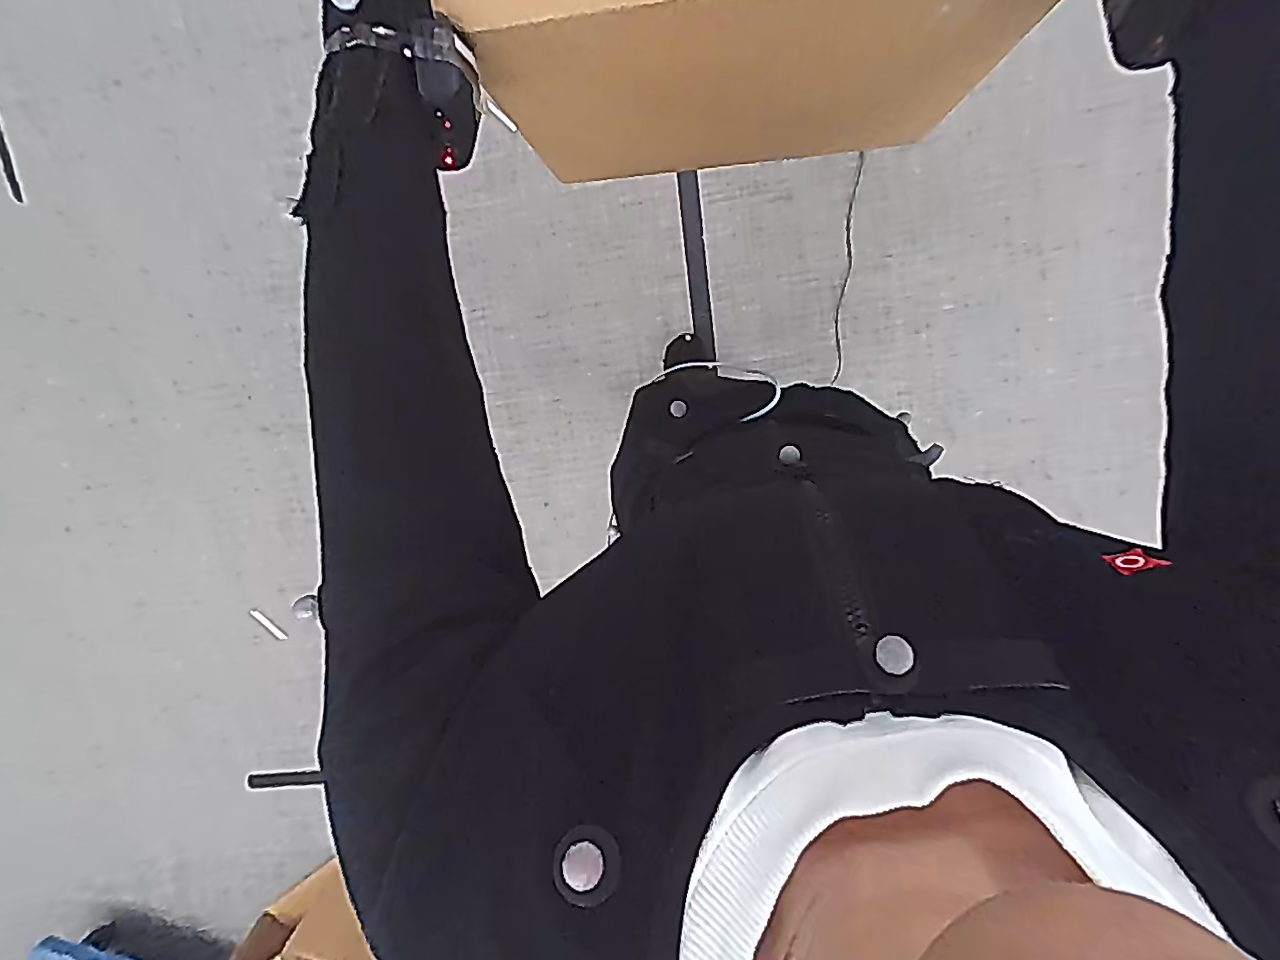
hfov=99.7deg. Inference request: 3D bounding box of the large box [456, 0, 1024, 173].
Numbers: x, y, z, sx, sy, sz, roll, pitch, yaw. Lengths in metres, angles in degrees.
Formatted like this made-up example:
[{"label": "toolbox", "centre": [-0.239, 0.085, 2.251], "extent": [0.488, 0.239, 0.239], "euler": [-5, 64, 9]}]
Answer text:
[{"label": "large box", "centre": [0.076, -0.489, 0.439], "extent": [0.408, 0.320, 0.320], "euler": [-3, 103, 7]}]
